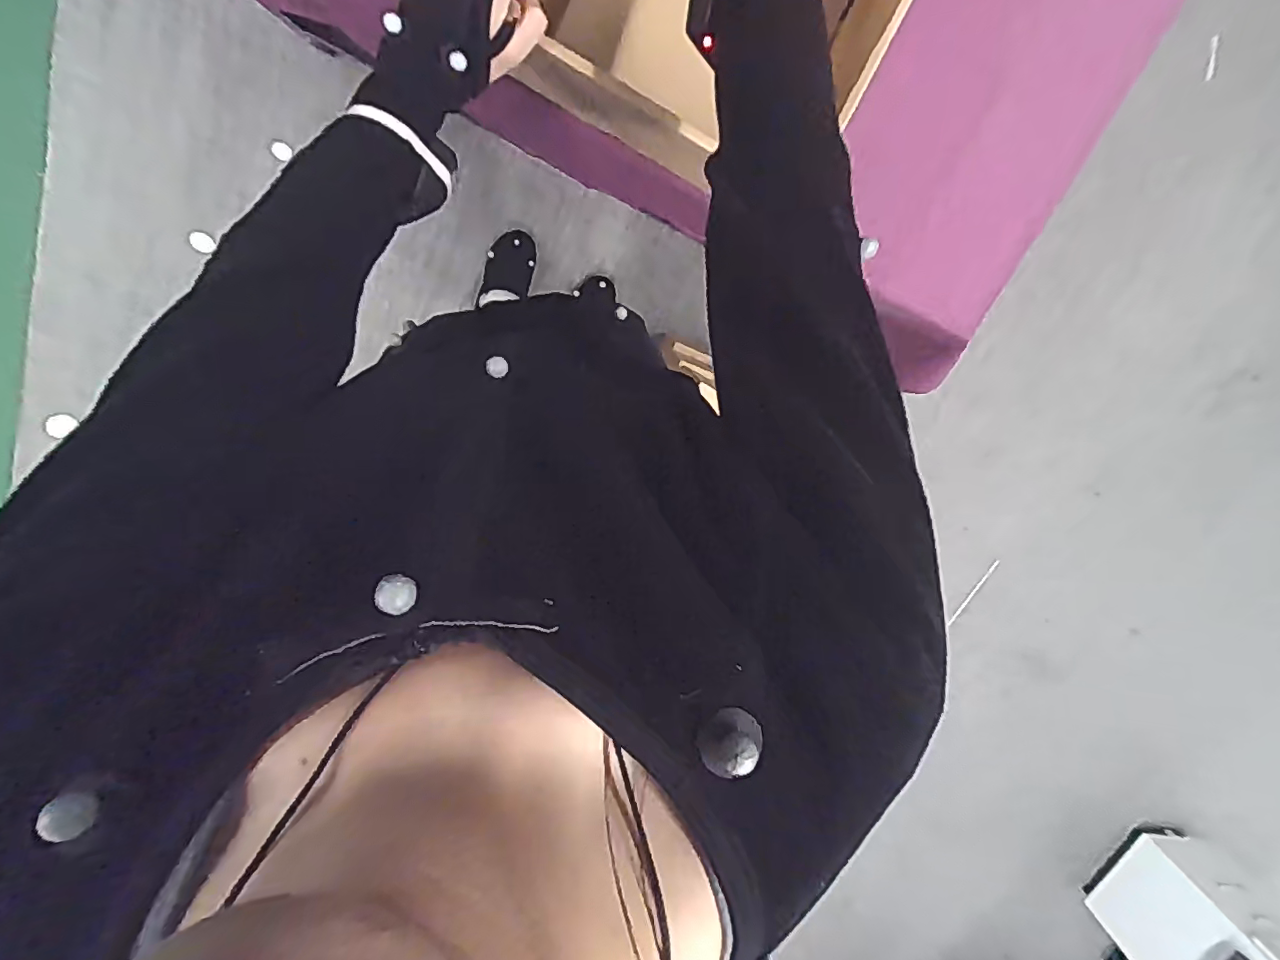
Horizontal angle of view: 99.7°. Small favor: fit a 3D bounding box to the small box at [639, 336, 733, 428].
[{"bbox_3d":[0.111,-0.260,1.402,0.179,0.176,0.168,21,108,-14],"label":"small box"}]
